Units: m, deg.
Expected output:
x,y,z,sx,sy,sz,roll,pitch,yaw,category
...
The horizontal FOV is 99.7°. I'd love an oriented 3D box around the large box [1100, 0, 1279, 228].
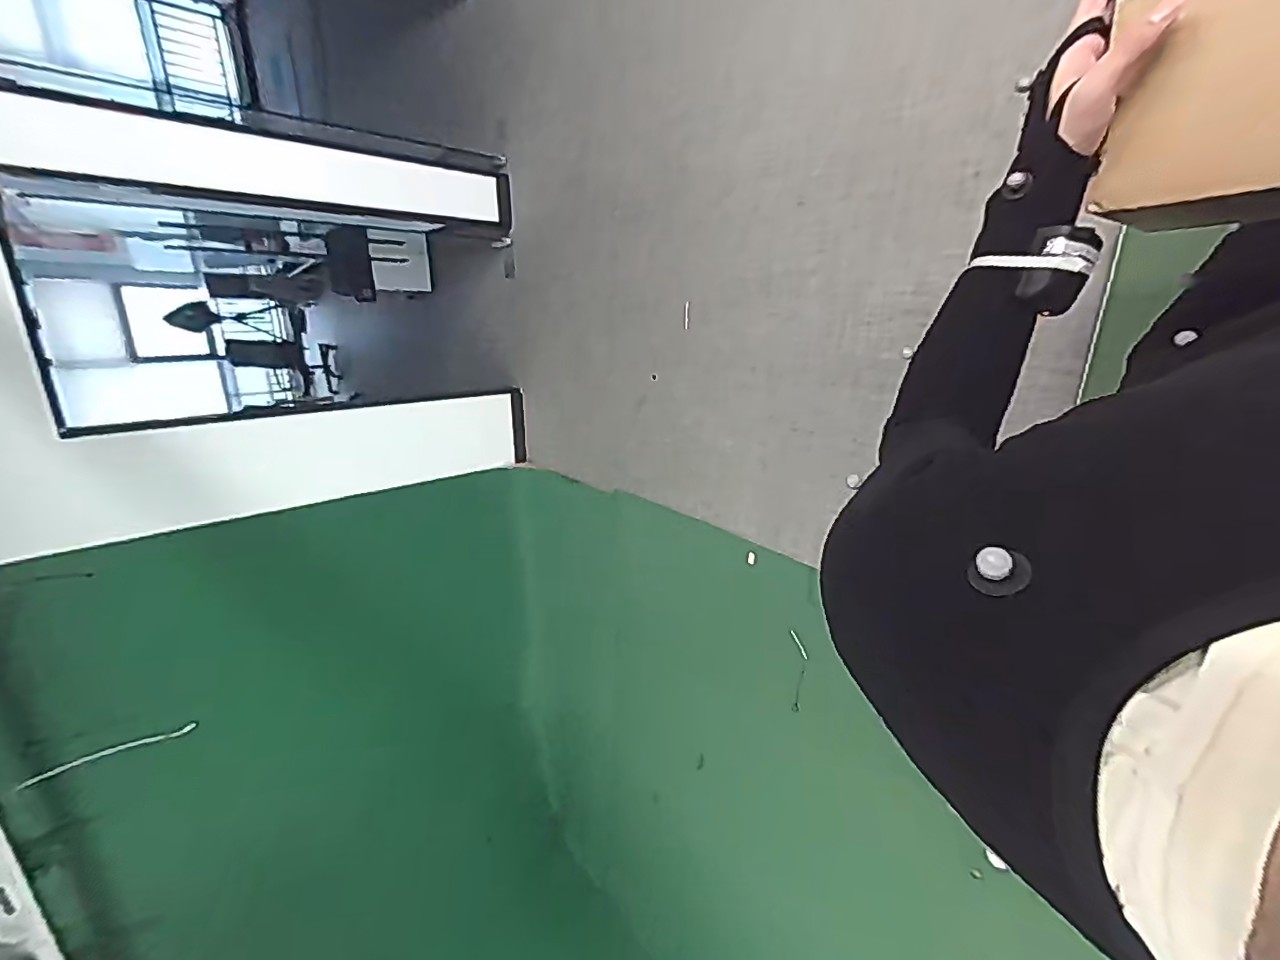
x,y,z,sx,sy,sz,roll,pitch,yaw,category
0.615,-0.383,0.367,0.408,0.320,0.320,14,114,46,large box
